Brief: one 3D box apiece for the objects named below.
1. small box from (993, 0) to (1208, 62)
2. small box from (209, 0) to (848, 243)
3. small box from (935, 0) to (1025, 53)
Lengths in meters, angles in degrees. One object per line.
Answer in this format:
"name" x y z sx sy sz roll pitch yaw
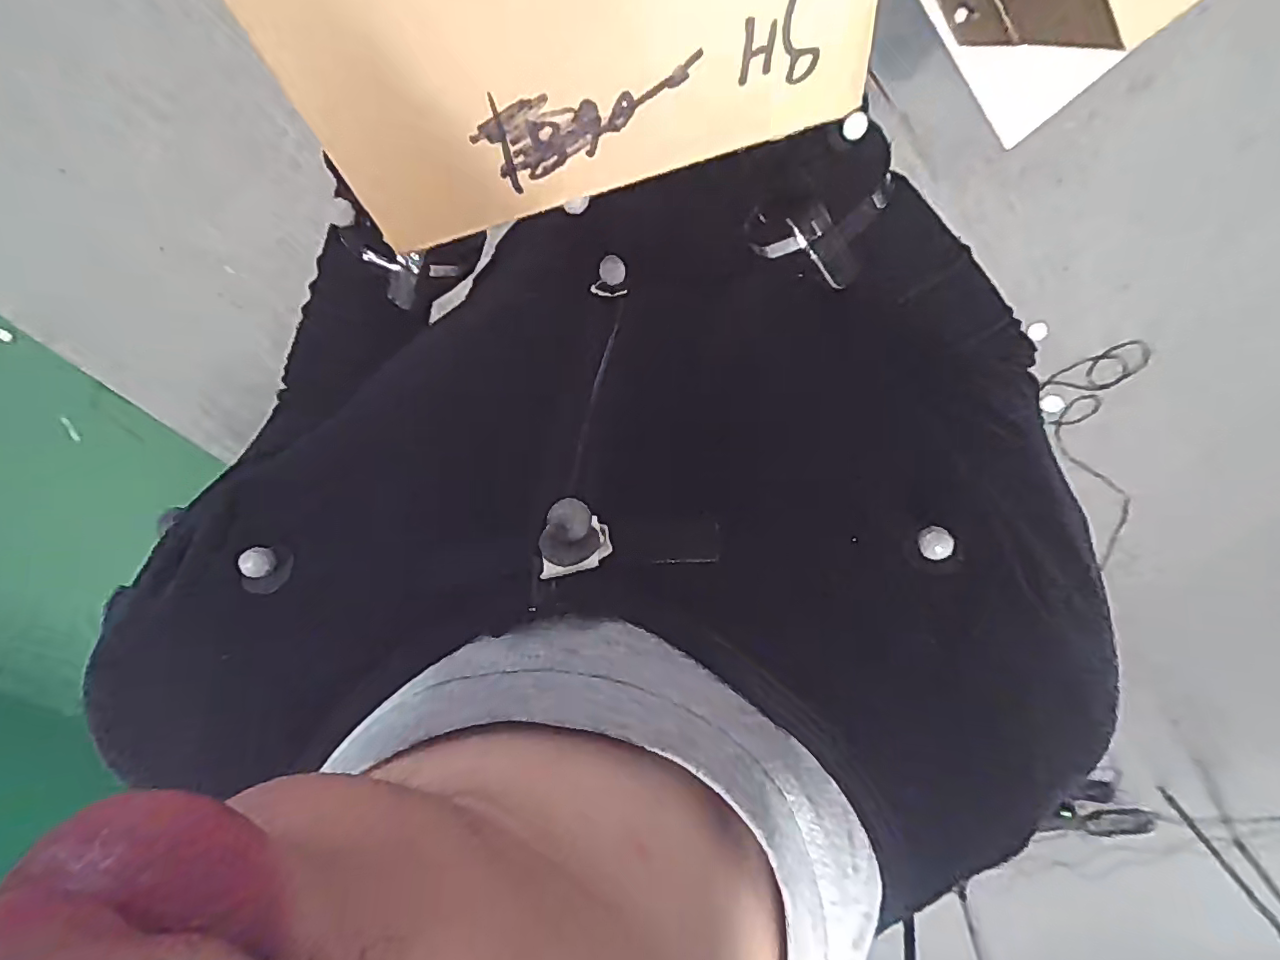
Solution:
"small box" 0.358 -0.438 0.372 0.179 0.176 0.168 -33 118 30
"small box" -0.043 -0.213 0.161 0.168 0.176 0.179 -14 144 6
"small box" 0.372 -0.541 0.500 0.179 0.176 0.168 -35 117 28
